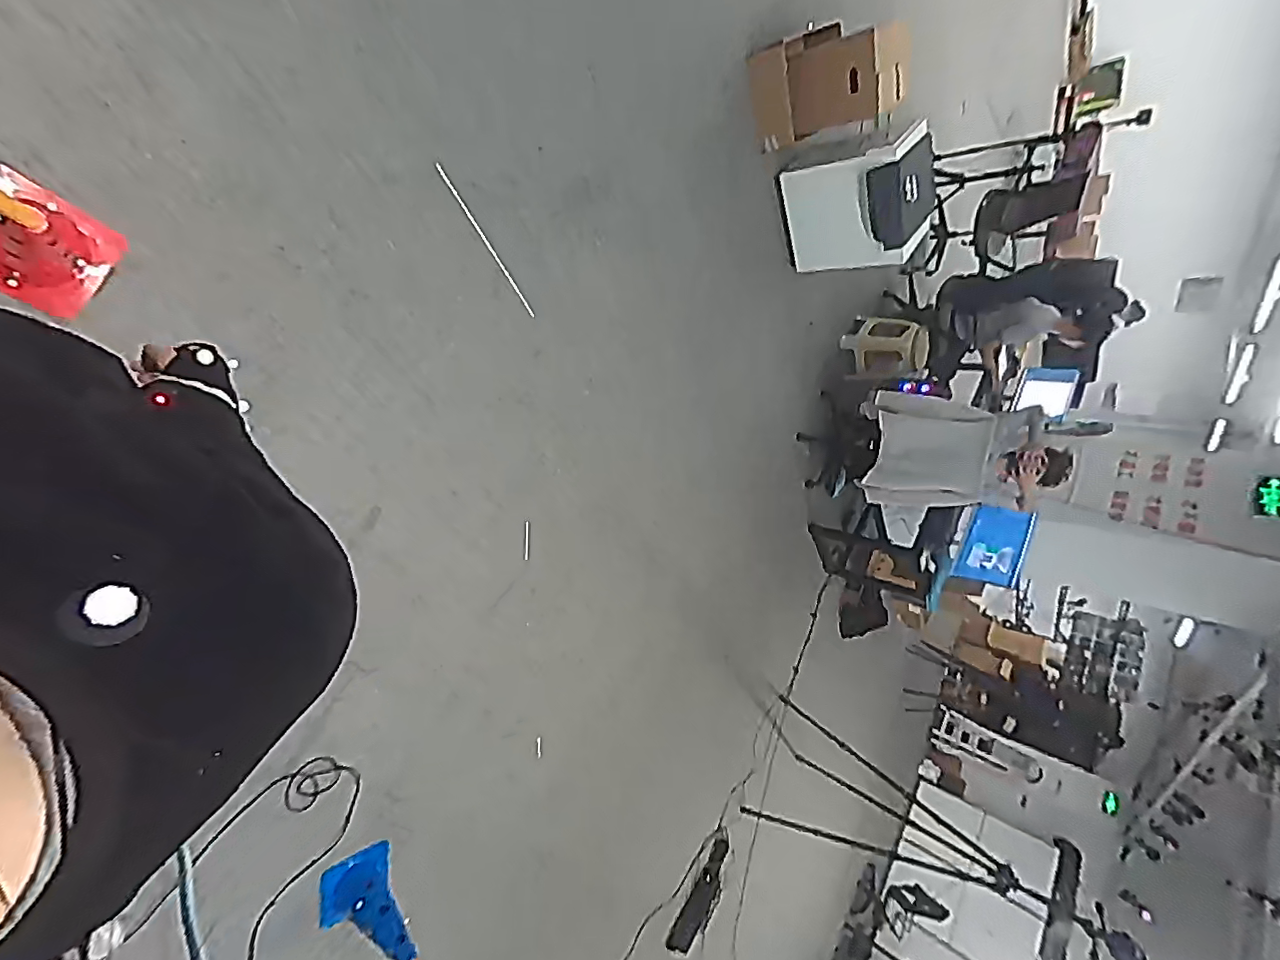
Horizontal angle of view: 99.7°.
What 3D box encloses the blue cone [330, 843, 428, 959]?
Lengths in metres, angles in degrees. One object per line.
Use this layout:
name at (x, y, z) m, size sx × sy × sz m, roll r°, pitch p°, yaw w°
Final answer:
blue cone at (-0.731, 1.269, 1.569) m, size 0.193 × 0.380 × 0.192 m, roll -8°, pitch 105°, yaw -50°
